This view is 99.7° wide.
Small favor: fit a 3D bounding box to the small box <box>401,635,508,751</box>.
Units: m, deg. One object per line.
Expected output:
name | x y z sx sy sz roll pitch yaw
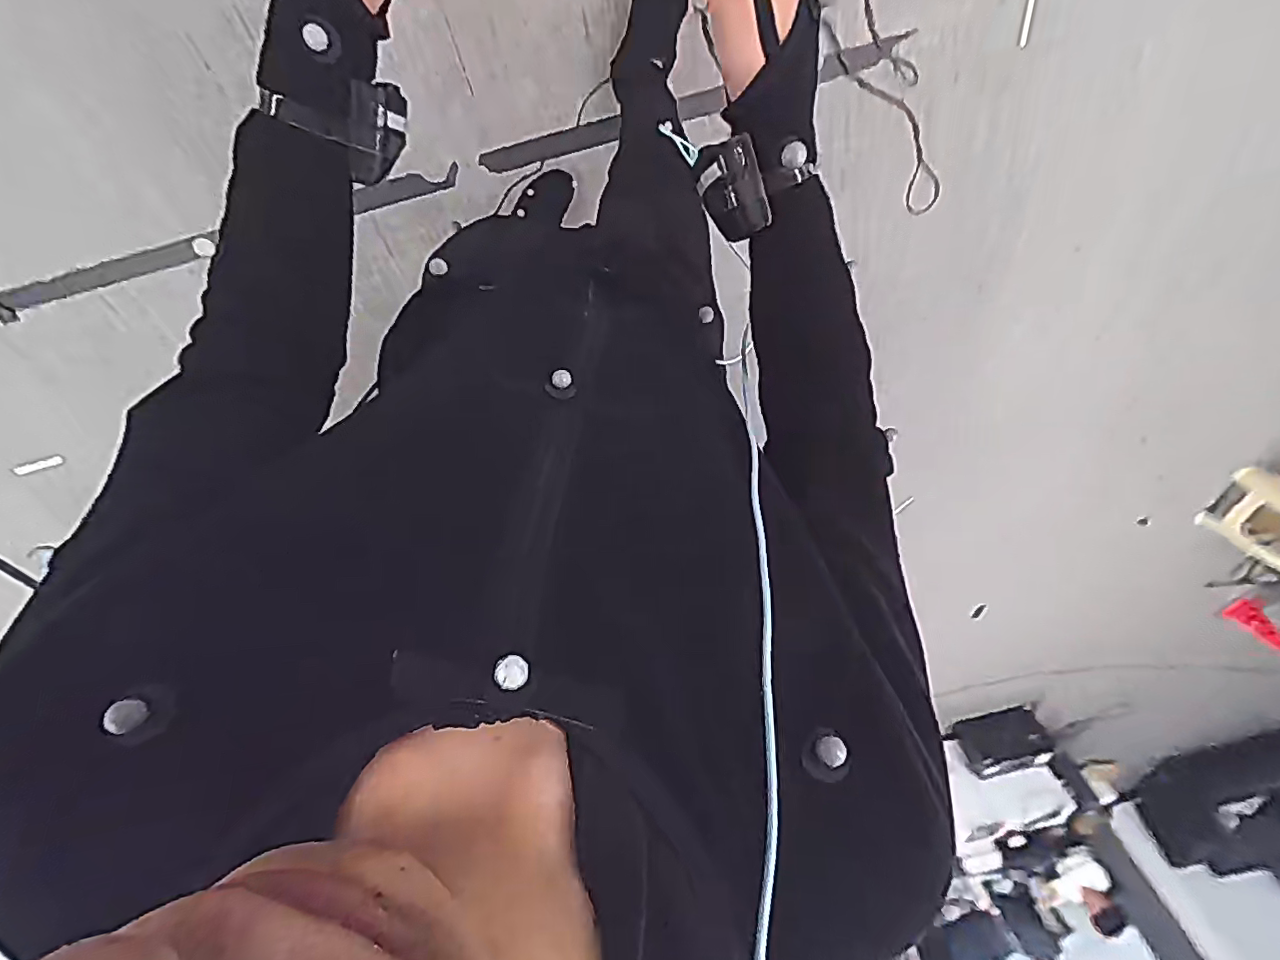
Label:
small box | -0.409 0.480 1.226 0.179 0.176 0.168 -13 131 0
